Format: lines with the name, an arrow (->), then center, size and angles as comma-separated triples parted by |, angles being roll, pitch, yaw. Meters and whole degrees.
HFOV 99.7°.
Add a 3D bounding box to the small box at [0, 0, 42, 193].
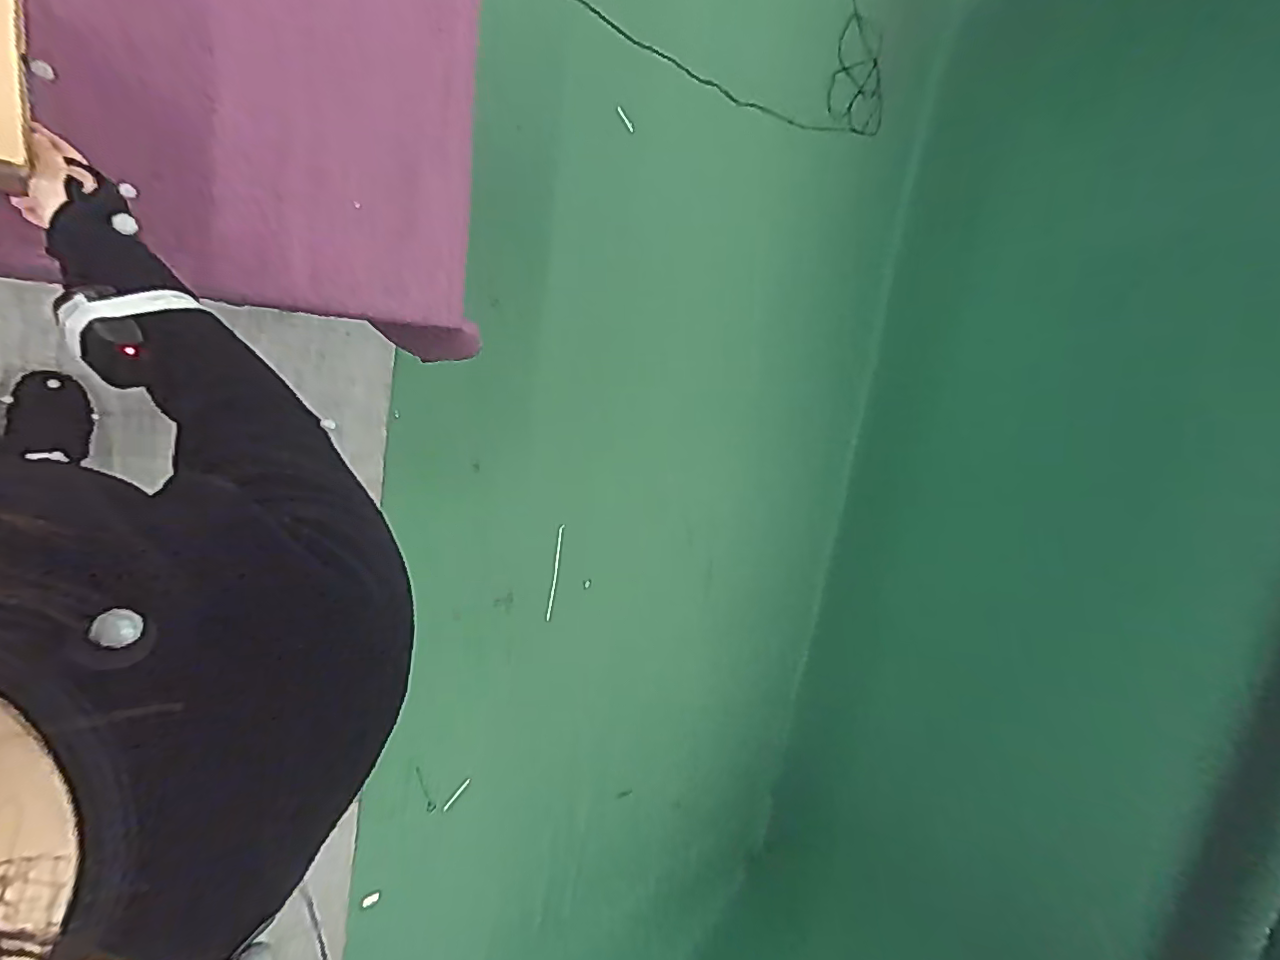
small box -> -0.529, -0.314, 0.360 | 0.168, 0.176, 0.179 | -4, 105, -46
